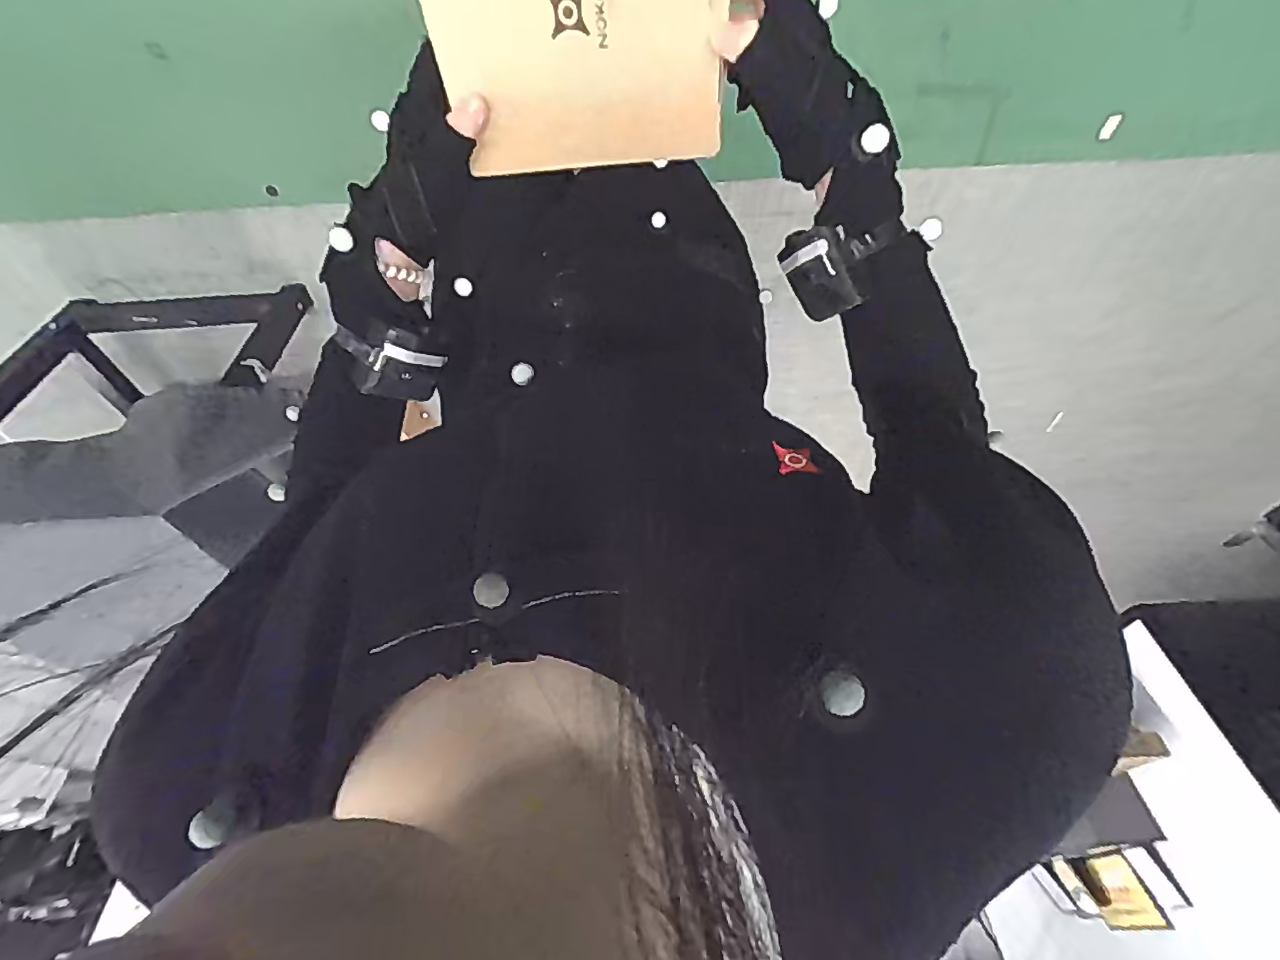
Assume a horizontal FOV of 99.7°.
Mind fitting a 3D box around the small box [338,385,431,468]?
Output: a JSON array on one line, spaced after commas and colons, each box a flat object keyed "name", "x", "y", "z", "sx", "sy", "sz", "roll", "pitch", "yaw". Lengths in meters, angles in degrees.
[{"name": "small box", "x": -0.759, "y": -0.162, "z": 1.627, "sx": 0.179, "sy": 0.176, "sz": 0.168, "roll": -11, "pitch": 141, "yaw": 8}]
